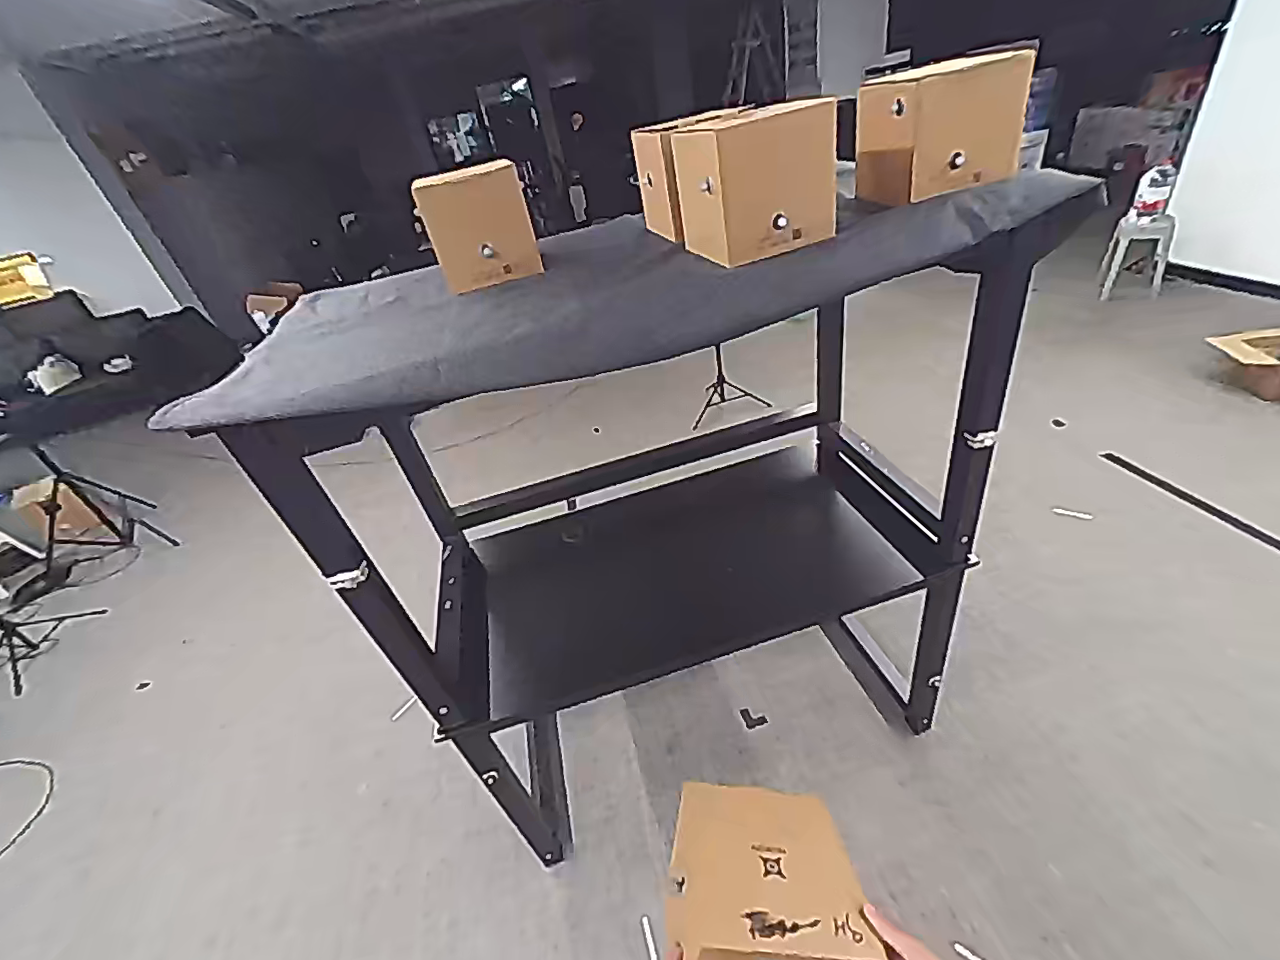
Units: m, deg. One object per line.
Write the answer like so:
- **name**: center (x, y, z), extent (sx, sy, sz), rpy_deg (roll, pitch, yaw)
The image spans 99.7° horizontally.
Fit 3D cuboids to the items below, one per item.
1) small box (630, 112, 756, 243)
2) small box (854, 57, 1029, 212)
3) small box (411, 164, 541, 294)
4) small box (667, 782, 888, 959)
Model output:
- **small box**: center (0.096, -0.535, 0.963), extent (0.168, 0.176, 0.179), rpy_deg (-18, 34, -7)
- **small box**: center (0.449, -0.530, 0.841), extent (0.168, 0.176, 0.179), rpy_deg (-15, 35, -1)
- **small box**: center (-0.286, -0.444, 0.957), extent (0.168, 0.176, 0.179), rpy_deg (-19, 36, -8)
- **small box**: center (0.120, 0.453, 0.553), extent (0.168, 0.176, 0.179), rpy_deg (7, 14, -1)
